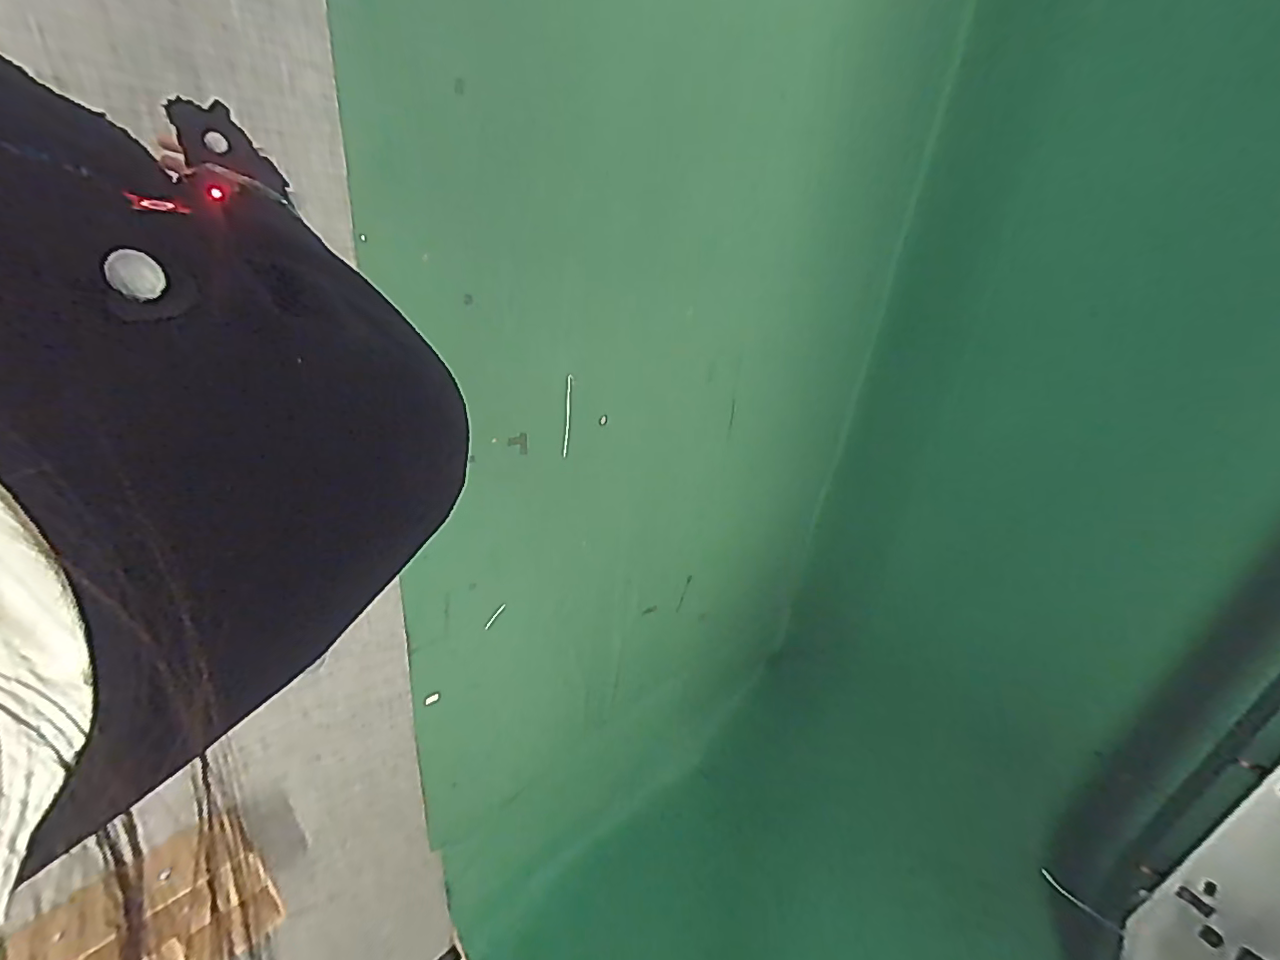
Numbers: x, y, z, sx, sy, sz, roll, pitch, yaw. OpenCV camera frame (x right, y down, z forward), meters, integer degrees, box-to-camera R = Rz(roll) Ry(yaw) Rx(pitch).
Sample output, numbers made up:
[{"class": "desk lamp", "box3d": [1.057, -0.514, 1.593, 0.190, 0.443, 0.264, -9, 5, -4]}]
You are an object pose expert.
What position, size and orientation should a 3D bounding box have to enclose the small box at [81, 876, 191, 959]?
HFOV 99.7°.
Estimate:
[{"class": "small box", "box3d": [-1.363, 1.238, 1.461, 0.179, 0.176, 0.168, -25, 132, -41]}]
